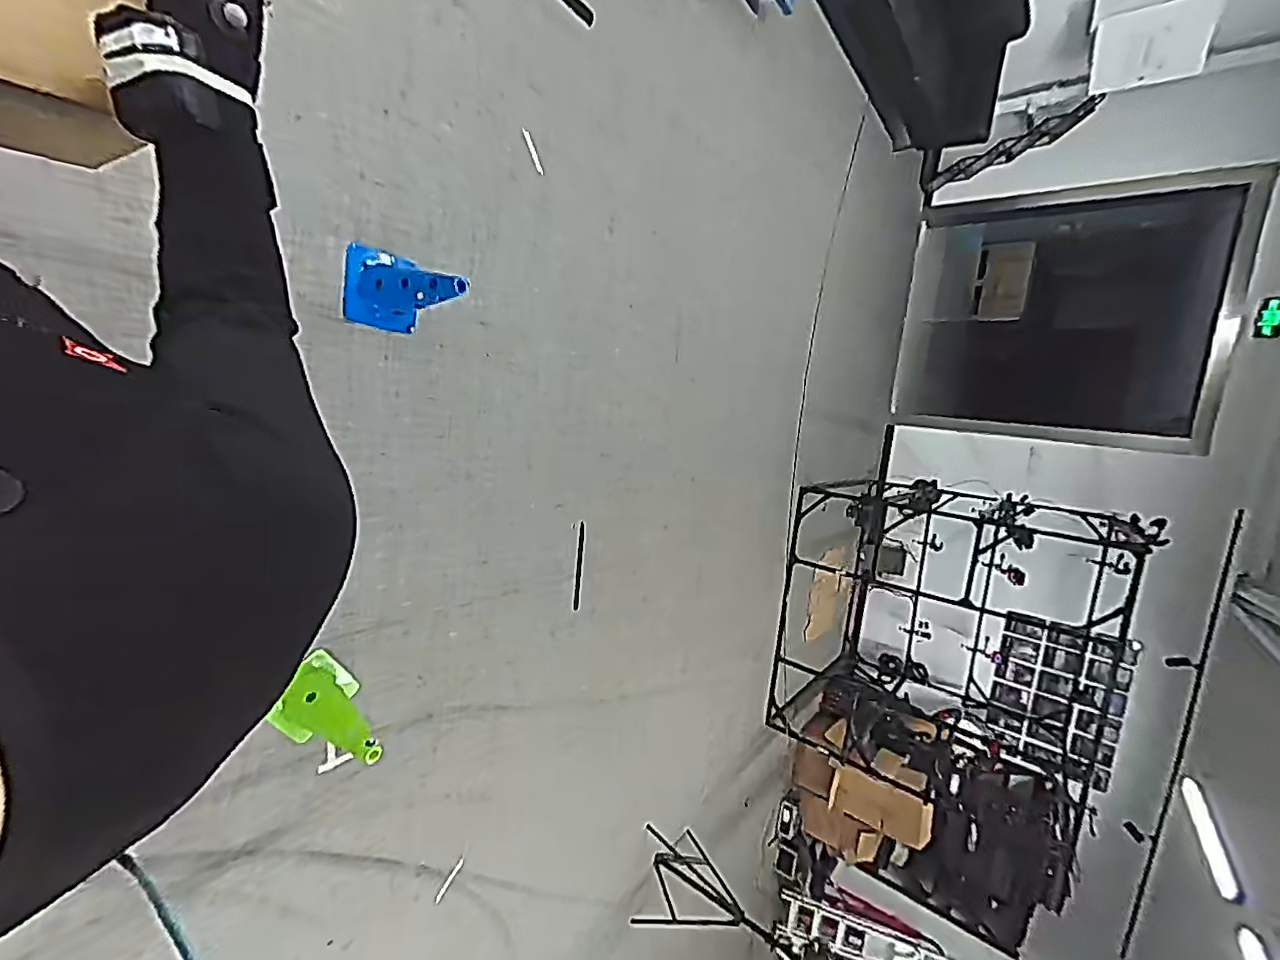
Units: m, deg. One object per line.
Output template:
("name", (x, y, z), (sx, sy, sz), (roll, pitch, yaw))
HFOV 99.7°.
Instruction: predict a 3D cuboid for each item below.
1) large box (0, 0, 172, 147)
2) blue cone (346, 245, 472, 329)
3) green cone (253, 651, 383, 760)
("large box", (-0.573, -0.438, 0.300), (0.408, 0.320, 0.320), (-10, 113, -53))
("blue cone", (-0.566, -0.491, 1.371), (0.192, 0.380, 0.193), (2, 98, -55))
("green cone", (-0.774, 0.621, 1.381), (0.202, 0.368, 0.200), (-50, 136, -35))
